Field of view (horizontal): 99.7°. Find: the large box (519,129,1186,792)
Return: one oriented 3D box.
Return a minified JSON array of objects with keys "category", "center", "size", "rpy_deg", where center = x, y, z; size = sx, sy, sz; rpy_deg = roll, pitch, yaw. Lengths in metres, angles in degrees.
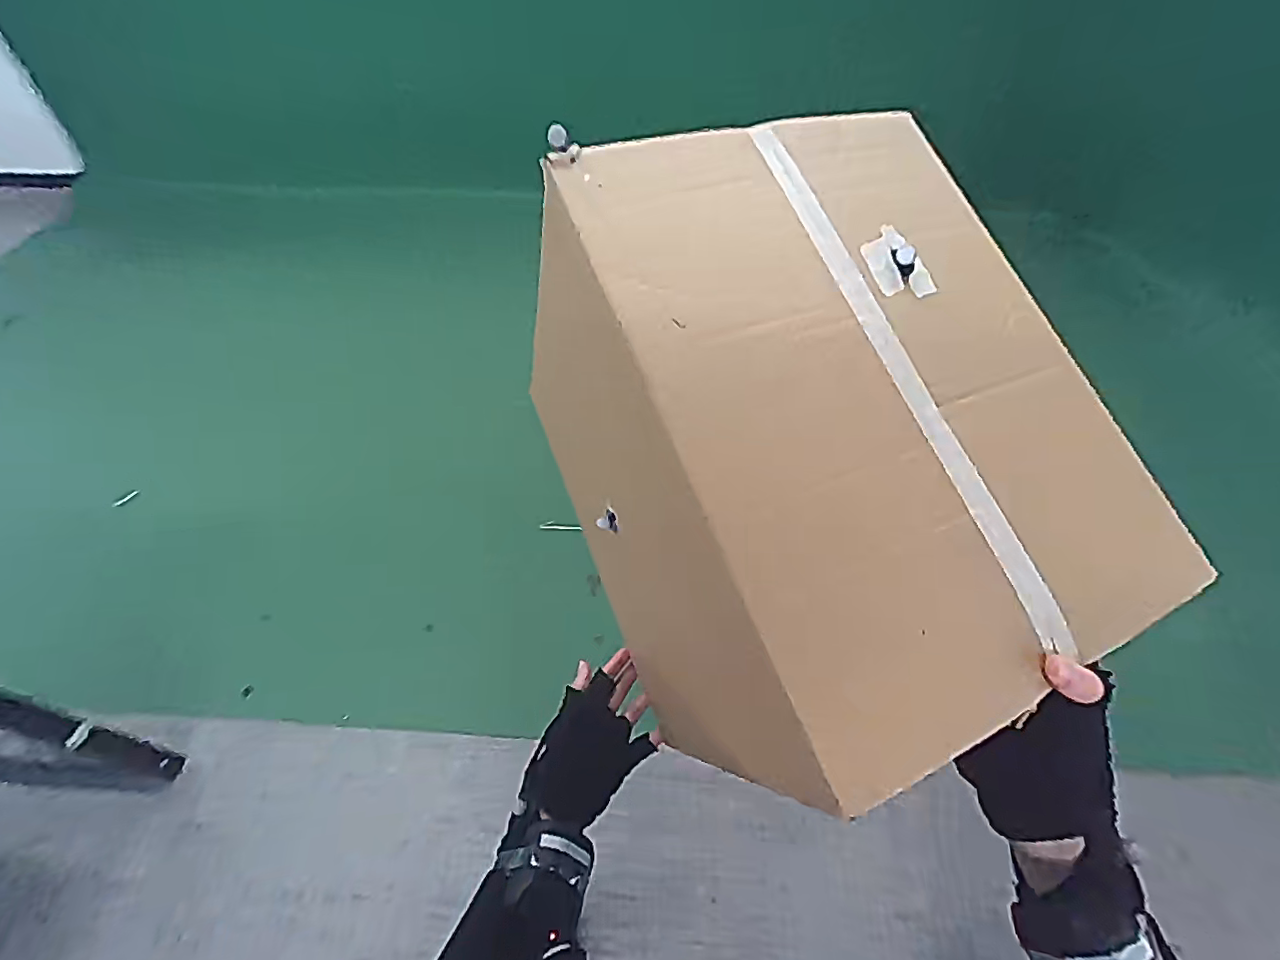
[{"category":"large box","center":[0.108,-0.017,0.485],"size":[0.320,0.320,0.408],"rpy_deg":[-19,73,-19]}]
